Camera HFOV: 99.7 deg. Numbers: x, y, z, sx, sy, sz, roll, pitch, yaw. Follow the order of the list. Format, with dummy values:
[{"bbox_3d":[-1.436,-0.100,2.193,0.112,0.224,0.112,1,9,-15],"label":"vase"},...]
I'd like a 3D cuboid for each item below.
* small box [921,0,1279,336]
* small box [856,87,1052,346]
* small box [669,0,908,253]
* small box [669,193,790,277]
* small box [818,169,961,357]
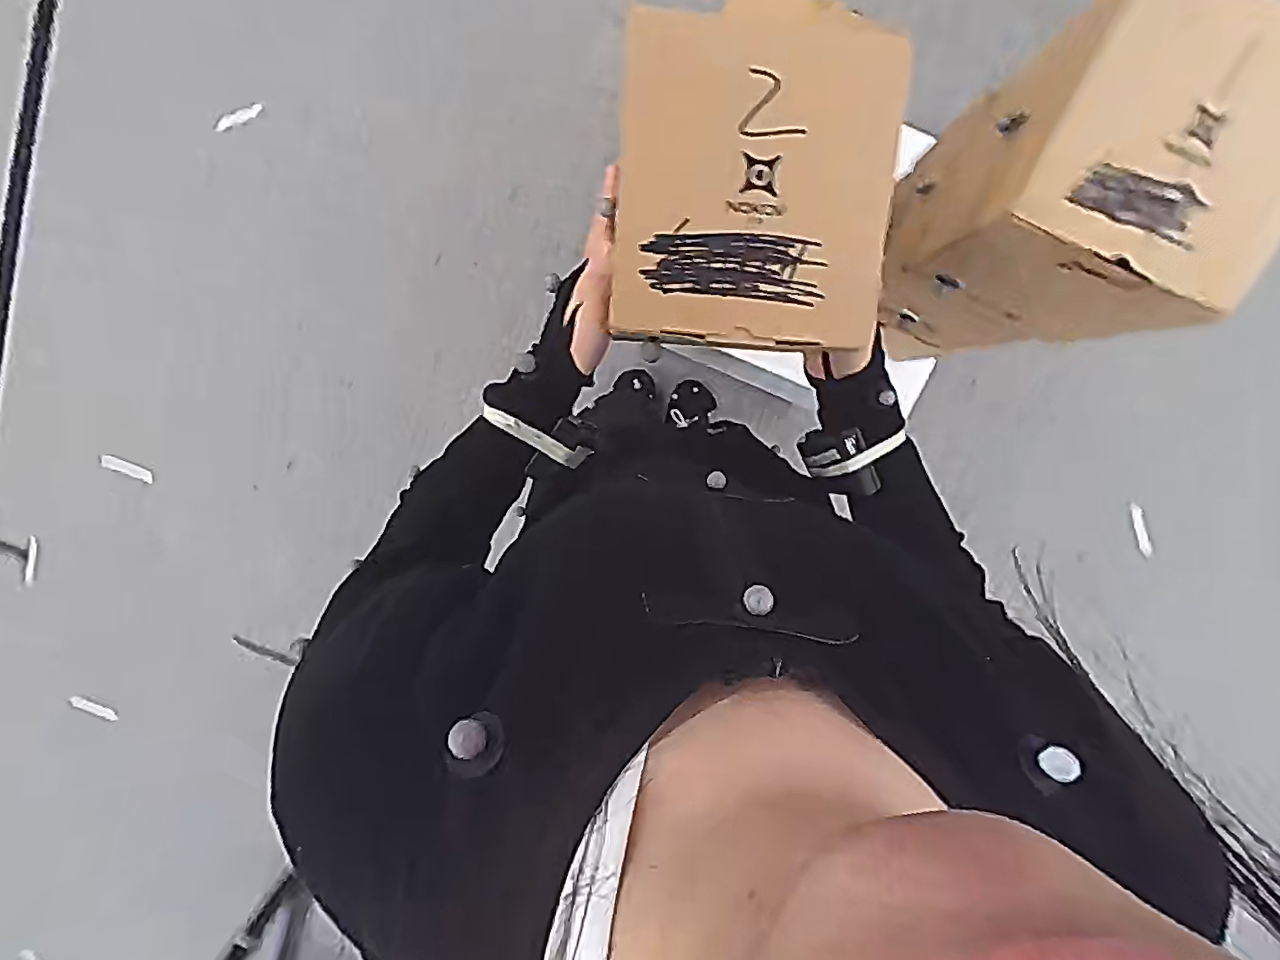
[{"bbox_3d":[0.357,-0.230,0.423,0.168,0.176,0.179,26,99,-1],"label":"small box"},{"bbox_3d":[0.364,-0.261,0.584,0.168,0.176,0.179,24,101,-1],"label":"small box"},{"bbox_3d":[0.138,-0.367,0.573,0.168,0.176,0.179,21,100,-2],"label":"small box"},{"bbox_3d":[0.141,-0.400,0.732,0.168,0.176,0.179,21,101,-2],"label":"small box"},{"bbox_3d":[0.366,-0.281,0.746,0.168,0.176,0.179,24,102,-2],"label":"small box"}]
